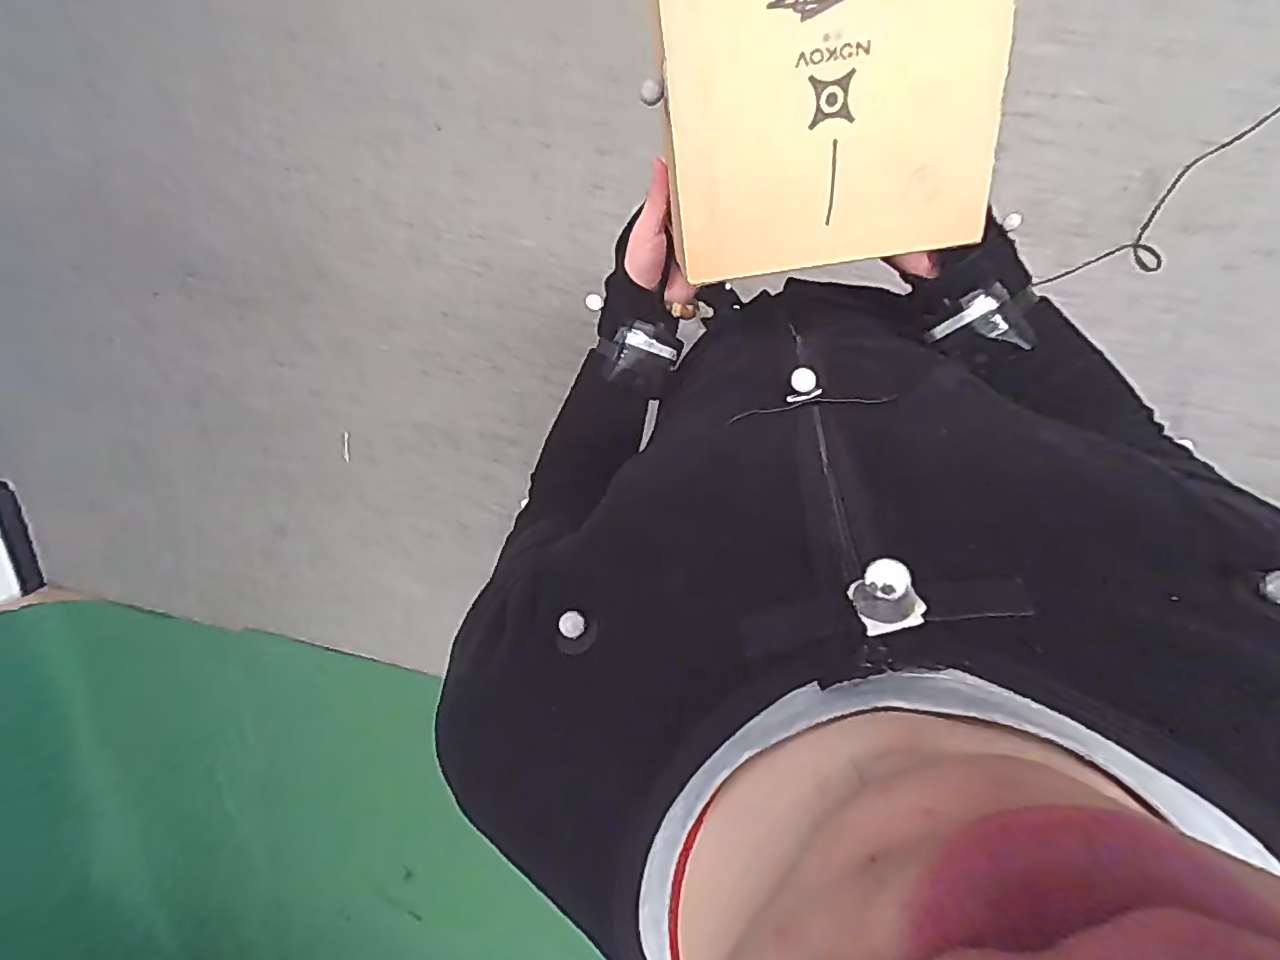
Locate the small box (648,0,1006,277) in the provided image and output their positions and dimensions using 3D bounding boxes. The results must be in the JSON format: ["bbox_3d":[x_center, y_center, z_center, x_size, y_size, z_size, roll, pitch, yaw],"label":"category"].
[{"bbox_3d":[0.094,-0.239,0.340,0.168,0.176,0.179,-6,120,4],"label":"small box"}]
